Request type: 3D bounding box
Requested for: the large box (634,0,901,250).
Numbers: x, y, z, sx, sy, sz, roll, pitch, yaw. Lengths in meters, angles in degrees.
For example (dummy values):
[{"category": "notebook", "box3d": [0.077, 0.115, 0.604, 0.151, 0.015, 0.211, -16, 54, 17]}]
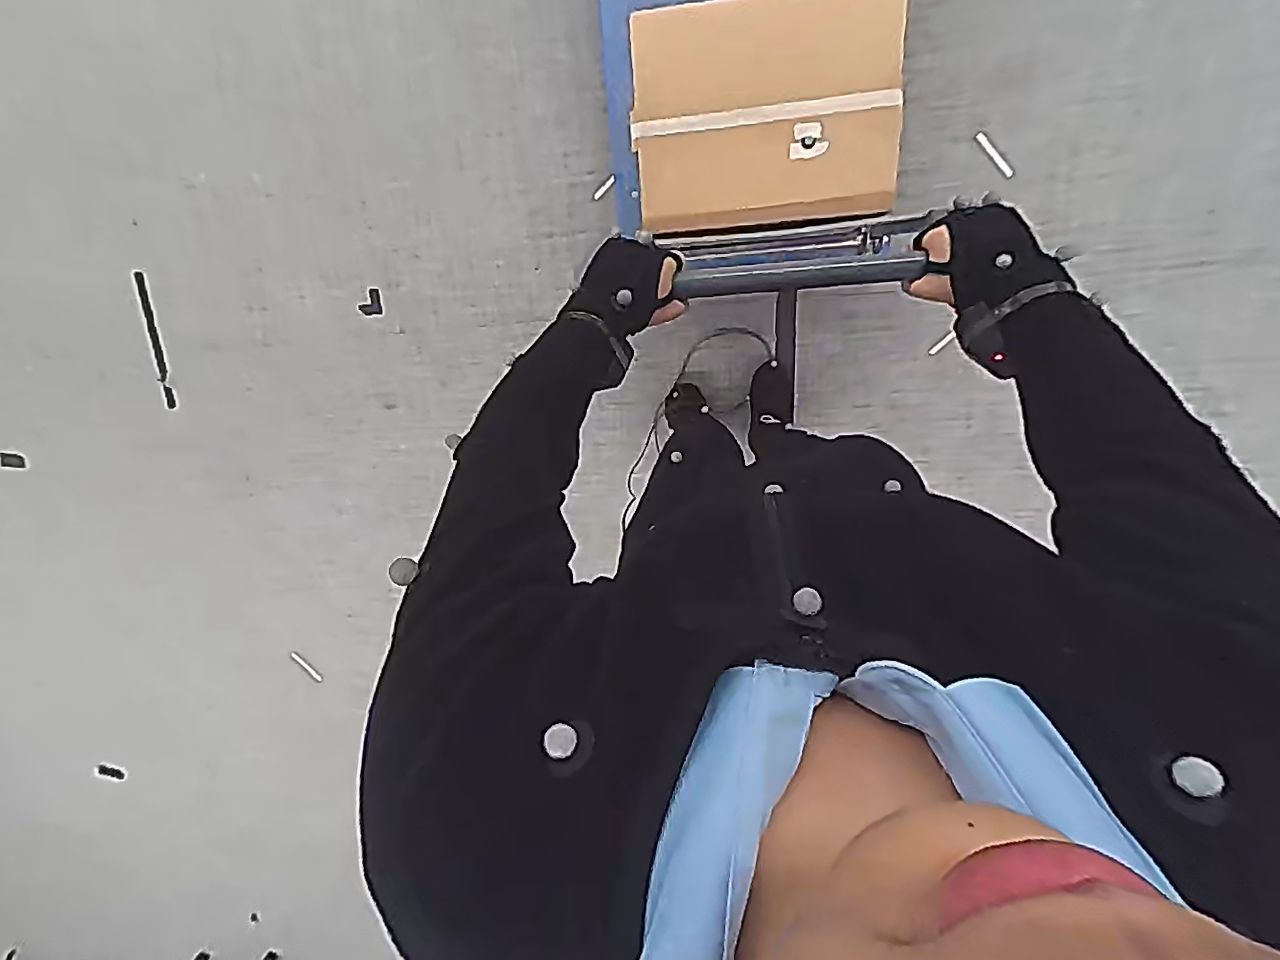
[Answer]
[{"category": "large box", "box3d": [0.214, -0.623, 0.999, 0.408, 0.320, 0.320, -2, 109, 7]}]
